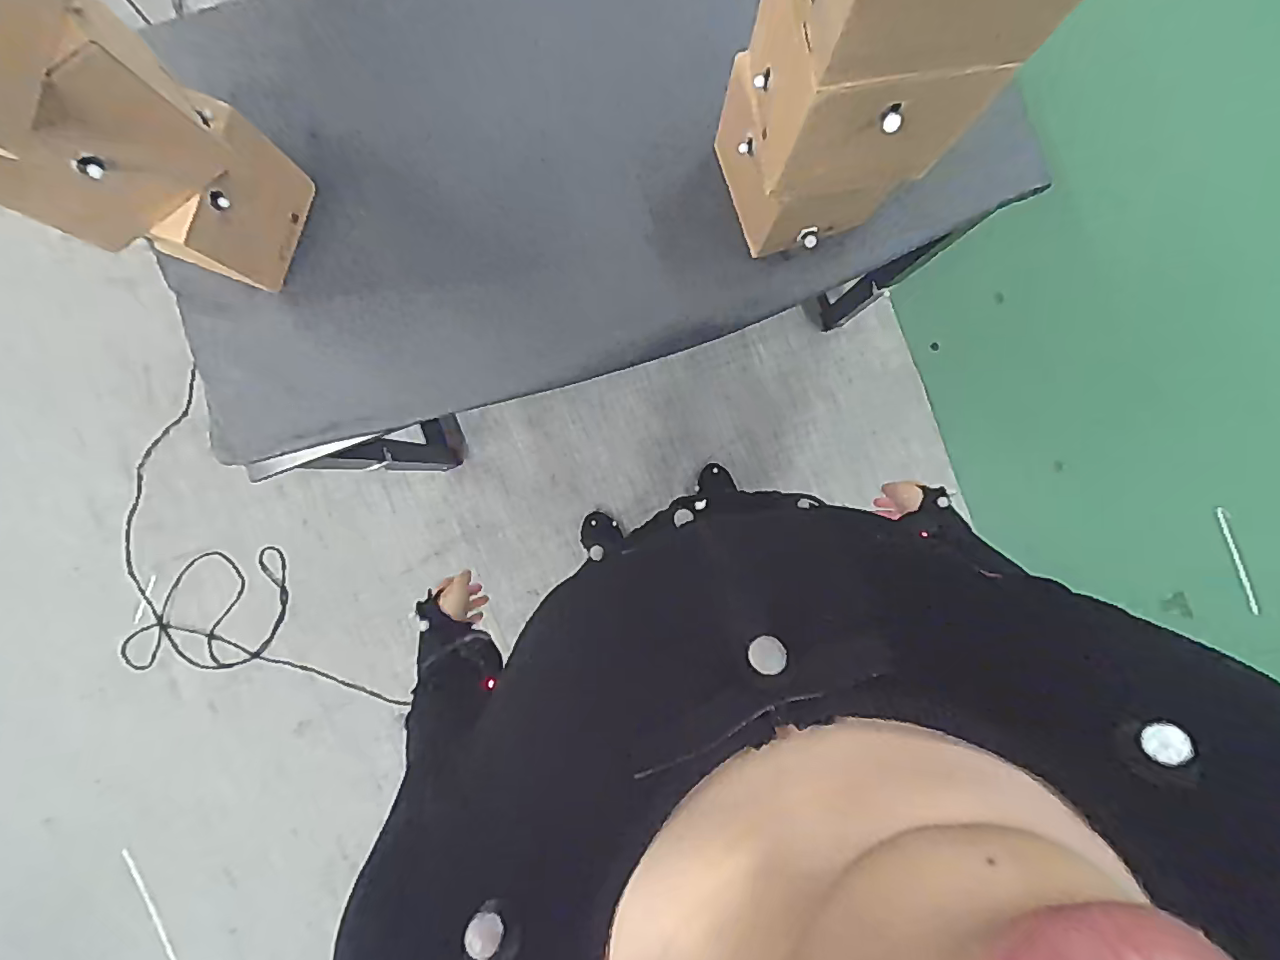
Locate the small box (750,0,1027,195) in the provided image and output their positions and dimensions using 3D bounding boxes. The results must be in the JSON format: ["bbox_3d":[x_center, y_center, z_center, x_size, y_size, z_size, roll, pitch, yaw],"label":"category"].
[{"bbox_3d":[0.215,-0.402,0.513,0.179,0.176,0.168,-8,89,1],"label":"small box"}]

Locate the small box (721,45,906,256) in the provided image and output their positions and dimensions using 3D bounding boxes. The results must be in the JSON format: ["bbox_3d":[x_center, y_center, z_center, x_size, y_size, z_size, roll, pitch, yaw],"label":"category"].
[{"bbox_3d":[0.211,-0.416,0.676,0.168,0.176,0.179,-19,90,1],"label":"small box"}]

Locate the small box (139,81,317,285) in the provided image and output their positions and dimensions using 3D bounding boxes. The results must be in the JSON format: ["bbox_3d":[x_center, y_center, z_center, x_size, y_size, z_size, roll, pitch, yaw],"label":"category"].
[{"bbox_3d":[-0.554,-0.368,0.674,0.179,0.176,0.168,20,90,-1],"label":"small box"}]

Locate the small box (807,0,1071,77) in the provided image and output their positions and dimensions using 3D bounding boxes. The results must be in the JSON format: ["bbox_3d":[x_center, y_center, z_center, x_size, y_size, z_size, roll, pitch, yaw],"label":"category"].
[{"bbox_3d":[0.216,-0.406,0.348,0.179,0.176,0.168,-7,89,2],"label":"small box"}]

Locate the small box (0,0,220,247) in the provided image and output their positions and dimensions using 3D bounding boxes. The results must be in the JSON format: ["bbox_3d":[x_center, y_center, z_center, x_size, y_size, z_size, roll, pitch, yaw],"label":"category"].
[{"bbox_3d":[-0.551,-0.362,0.509,0.179,0.176,0.168,-38,91,0],"label":"small box"}]
